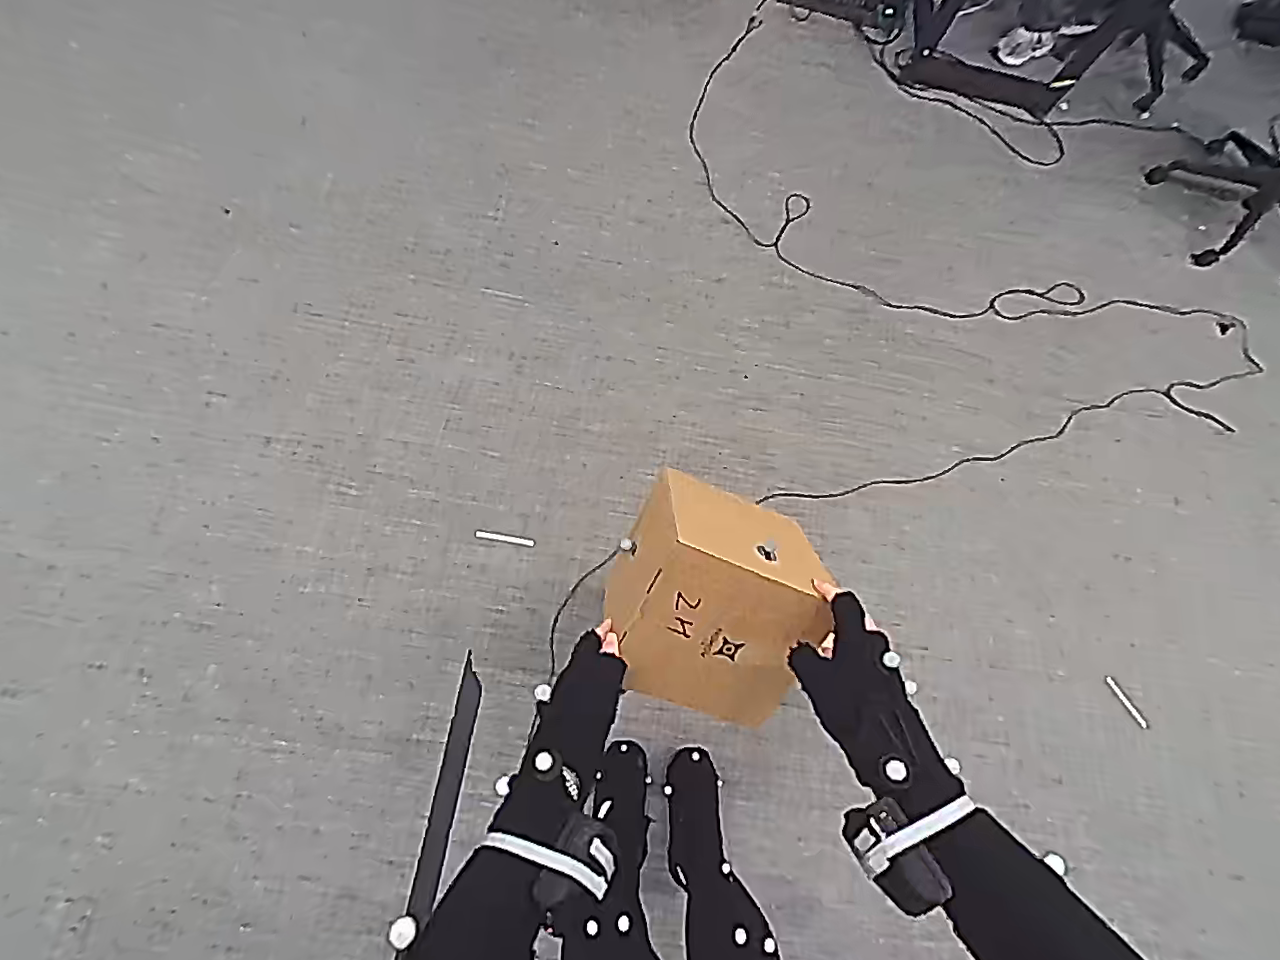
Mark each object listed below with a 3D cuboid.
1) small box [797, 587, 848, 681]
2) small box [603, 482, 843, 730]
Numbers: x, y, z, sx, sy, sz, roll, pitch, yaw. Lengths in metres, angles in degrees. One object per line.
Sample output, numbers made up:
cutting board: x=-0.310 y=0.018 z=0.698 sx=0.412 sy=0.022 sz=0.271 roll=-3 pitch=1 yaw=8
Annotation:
small box: x=0.284 y=0.294 z=1.065 sx=0.179 sy=0.176 sz=0.168 roll=12 pitch=71 yaw=-6
small box: x=0.074 y=0.123 z=0.579 sx=0.179 sy=0.176 sz=0.168 roll=23 pitch=110 yaw=-10
